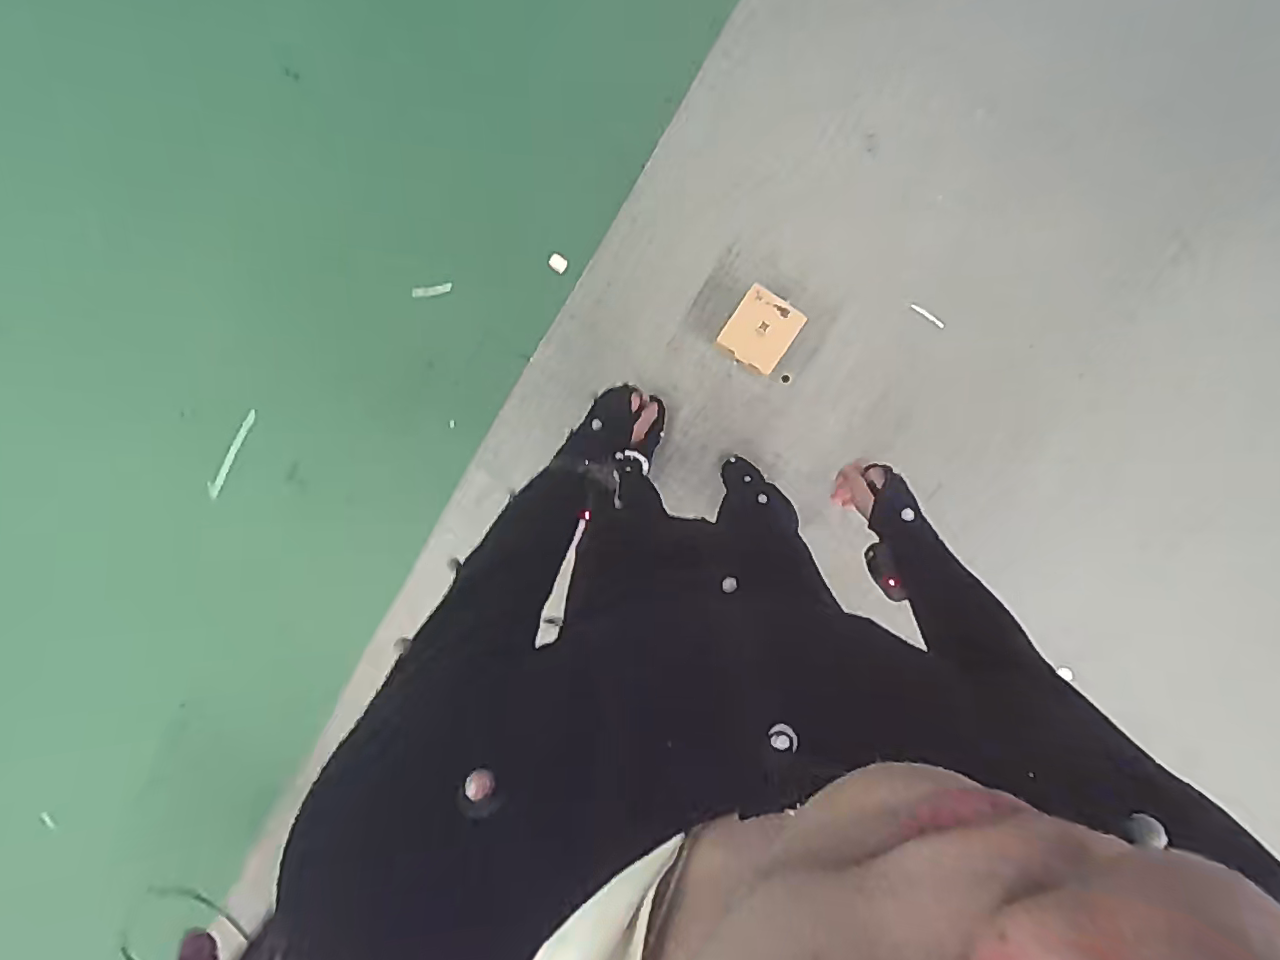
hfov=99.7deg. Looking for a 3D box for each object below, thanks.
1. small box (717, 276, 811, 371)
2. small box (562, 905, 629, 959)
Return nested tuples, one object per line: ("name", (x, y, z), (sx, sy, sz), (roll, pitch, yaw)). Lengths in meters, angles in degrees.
("small box", (0.318, -0.404, 1.429), (0.168, 0.176, 0.179), (34, 101, -3))
("small box", (-0.150, 1.602, 1.831), (0.179, 0.176, 0.168), (31, 101, -2))
